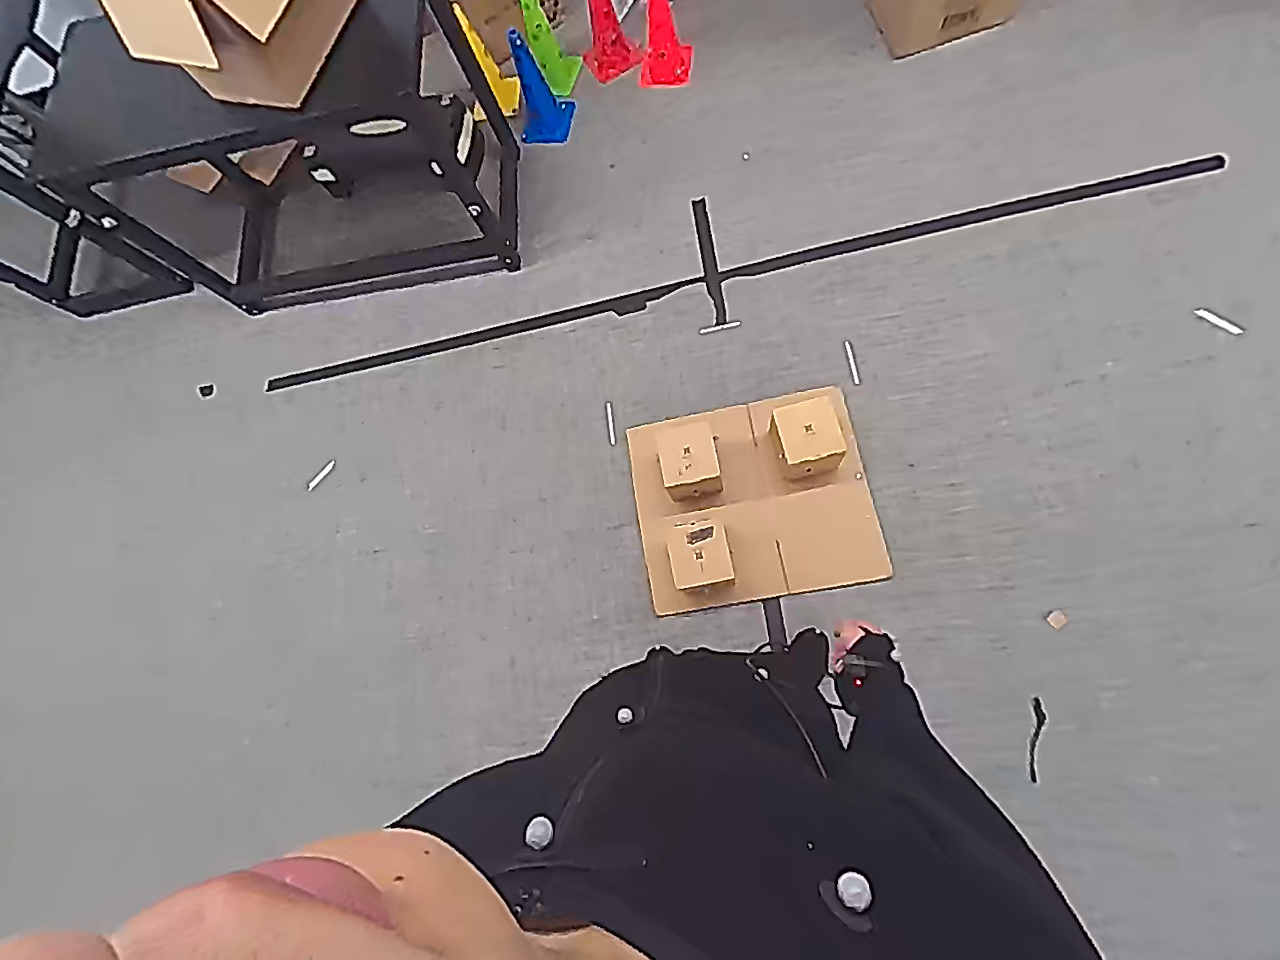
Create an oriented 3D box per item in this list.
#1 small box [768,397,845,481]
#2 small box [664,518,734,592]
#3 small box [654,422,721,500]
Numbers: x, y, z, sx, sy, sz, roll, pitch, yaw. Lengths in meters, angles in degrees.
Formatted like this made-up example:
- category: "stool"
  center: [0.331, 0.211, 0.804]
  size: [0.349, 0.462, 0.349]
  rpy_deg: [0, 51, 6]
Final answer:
- category: "small box"
  center: [0.482, -0.116, 1.593]
  size: [0.168, 0.176, 0.179]
  rpy_deg: [-15, 73, 6]
- category: "small box"
  center: [0.172, 0.221, 1.555]
  size: [0.168, 0.176, 0.179]
  rpy_deg: [-13, 75, 8]
- category: "small box"
  center: [0.146, -0.053, 1.632]
  size: [0.168, 0.176, 0.179]
  rpy_deg: [-12, 74, 8]
